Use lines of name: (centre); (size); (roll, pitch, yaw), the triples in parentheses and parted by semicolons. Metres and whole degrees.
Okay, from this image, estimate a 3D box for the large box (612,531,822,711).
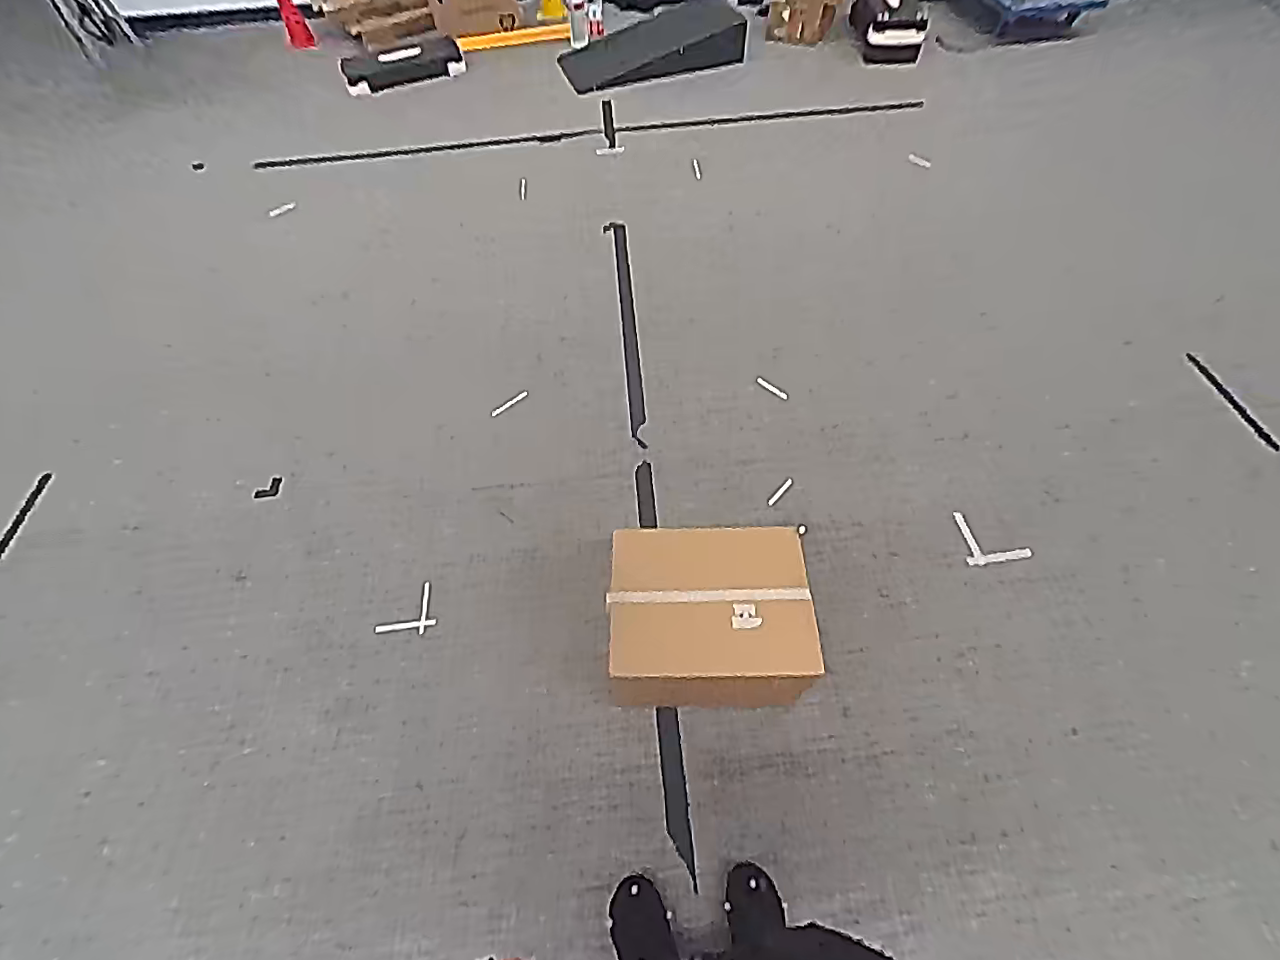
large box: (0.143, 0.324, 1.216); (0.408, 0.320, 0.320); (-1, 58, 1)
